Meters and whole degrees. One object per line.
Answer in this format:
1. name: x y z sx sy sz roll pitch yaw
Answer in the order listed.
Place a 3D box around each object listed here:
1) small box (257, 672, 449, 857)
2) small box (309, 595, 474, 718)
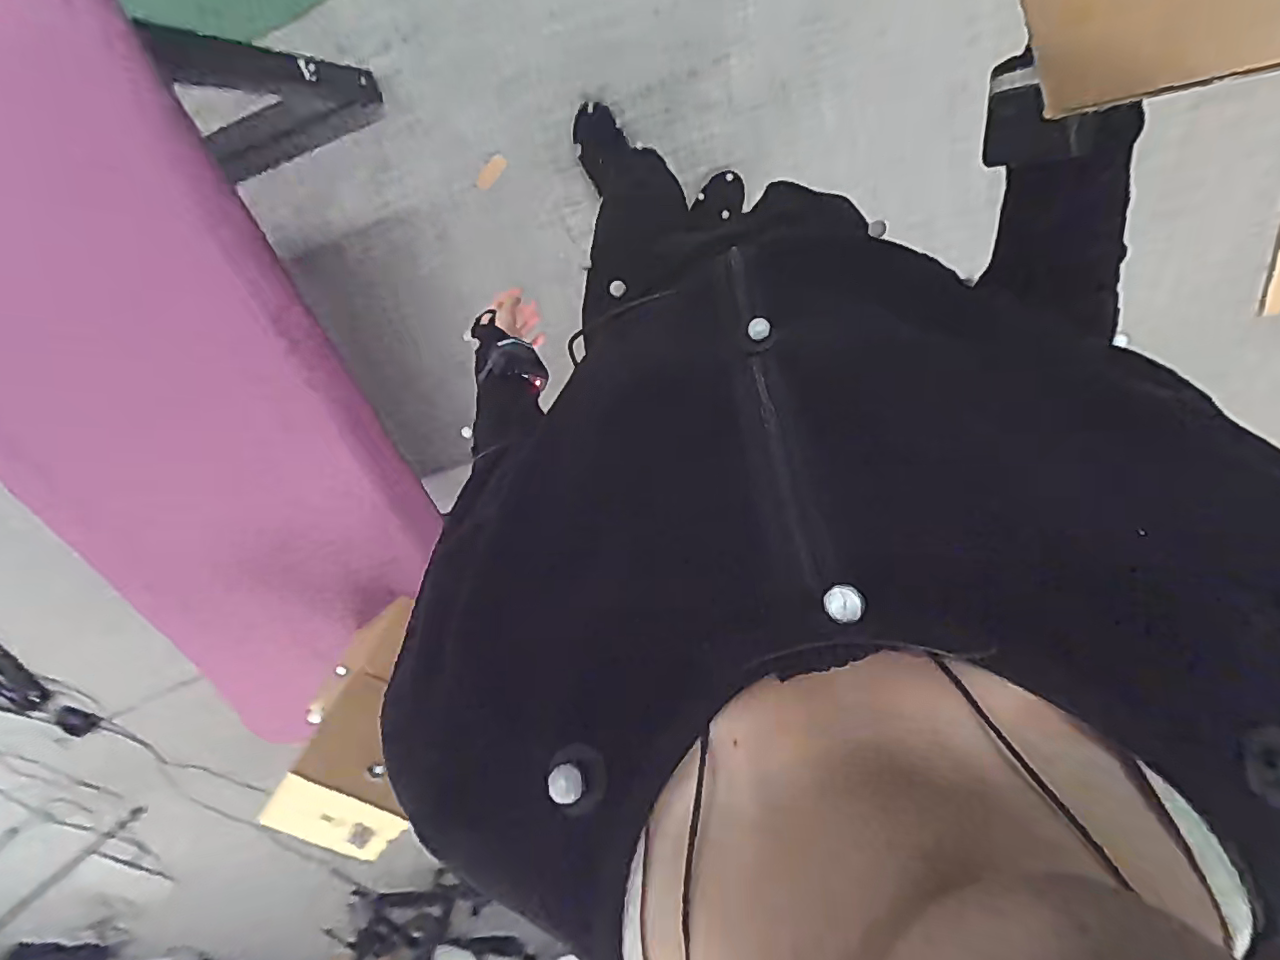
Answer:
1. small box: -0.419 0.423 0.815 0.179 0.176 0.168 33 119 -15
2. small box: -0.425 0.337 0.957 0.168 0.176 0.179 -37 113 23
